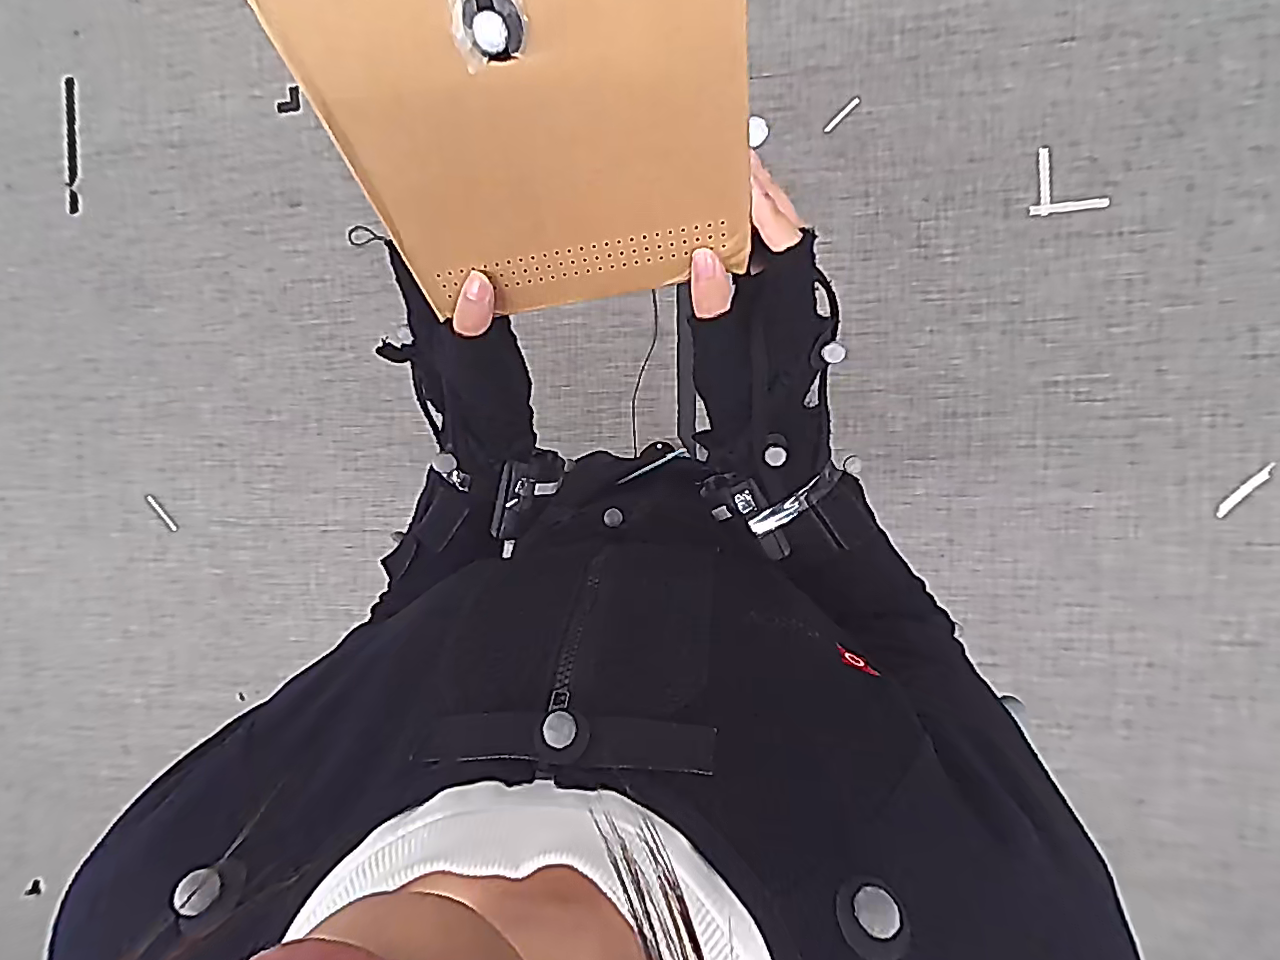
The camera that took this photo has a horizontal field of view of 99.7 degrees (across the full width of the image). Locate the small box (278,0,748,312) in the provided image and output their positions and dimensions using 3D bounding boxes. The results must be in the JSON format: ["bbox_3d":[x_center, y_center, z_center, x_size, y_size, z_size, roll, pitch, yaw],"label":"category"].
[{"bbox_3d":[-0.041,-0.213,0.291,0.179,0.176,0.168,-7,56,8],"label":"small box"}]
